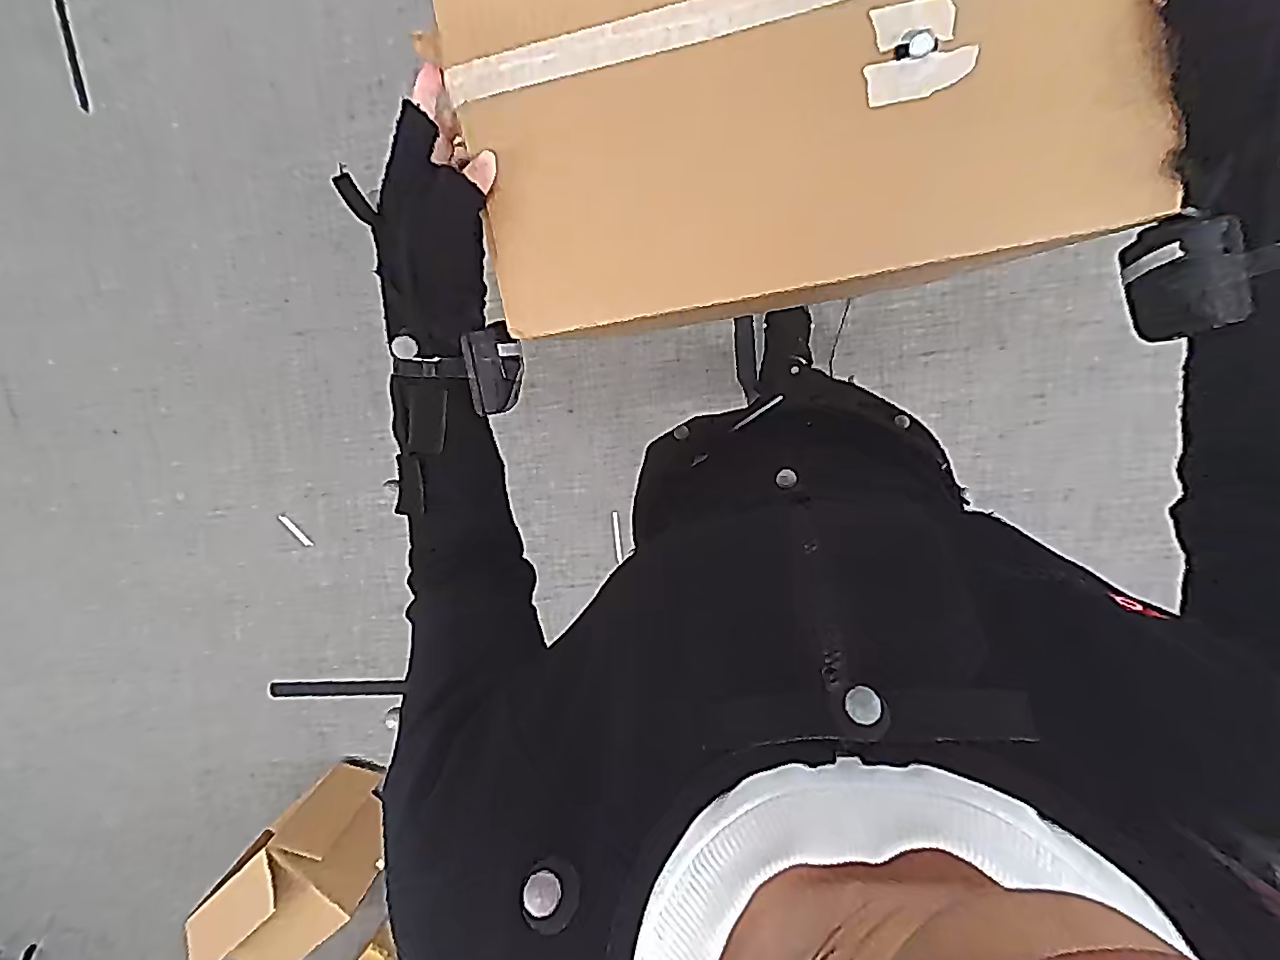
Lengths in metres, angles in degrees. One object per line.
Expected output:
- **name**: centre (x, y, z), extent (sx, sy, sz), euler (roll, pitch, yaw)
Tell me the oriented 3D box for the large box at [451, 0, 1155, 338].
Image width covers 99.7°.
- **large box**: centre (0.098, -0.317, 0.464), extent (0.408, 0.320, 0.320), euler (-9, 103, 8)
